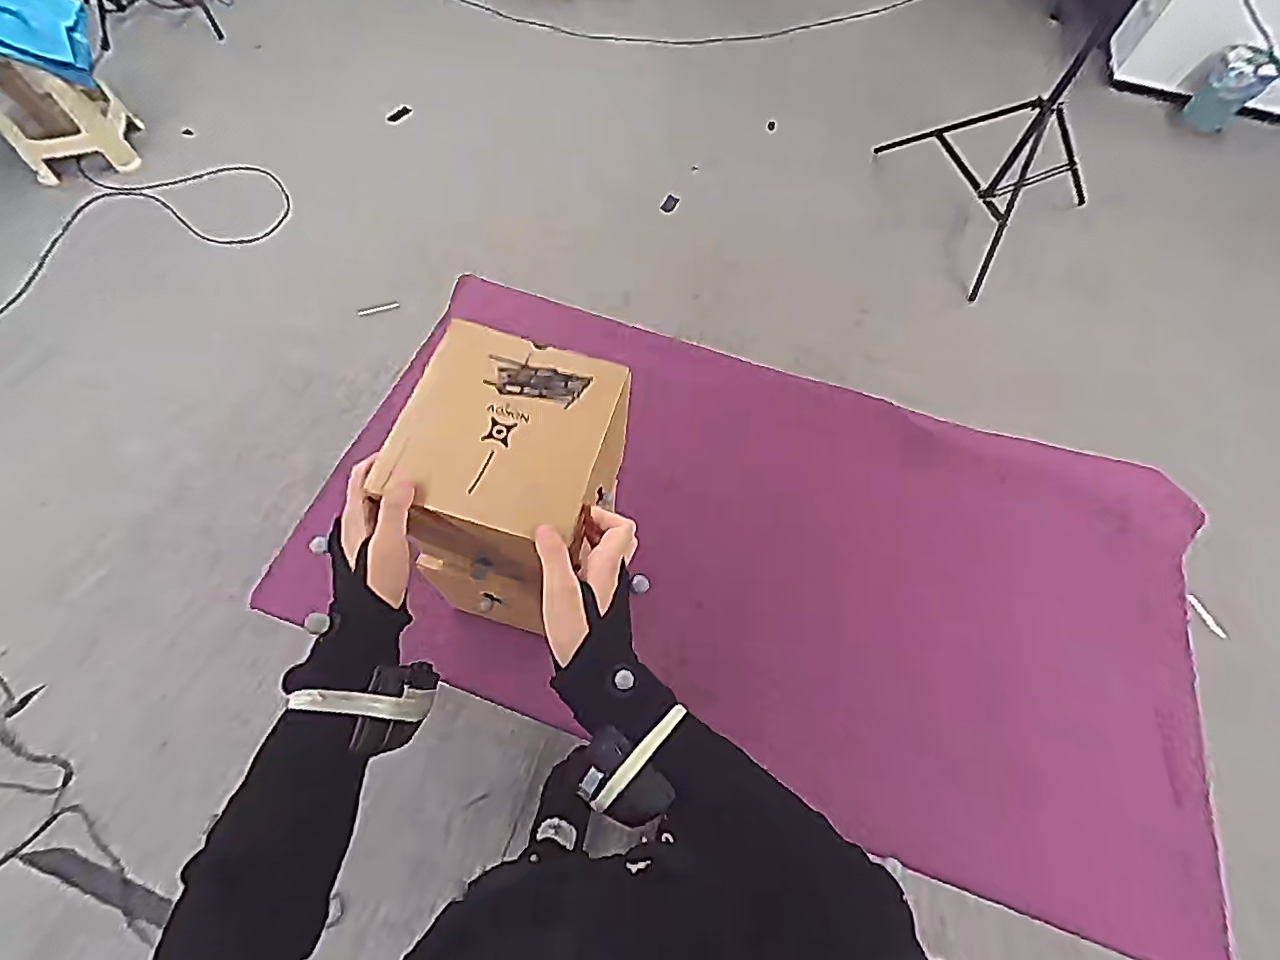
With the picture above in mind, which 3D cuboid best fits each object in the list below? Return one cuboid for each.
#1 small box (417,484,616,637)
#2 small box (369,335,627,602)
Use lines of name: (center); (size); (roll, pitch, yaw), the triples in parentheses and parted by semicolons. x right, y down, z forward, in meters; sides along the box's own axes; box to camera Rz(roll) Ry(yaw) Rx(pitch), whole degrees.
small box: (-0.137, 0.085, 0.675); (0.179, 0.176, 0.168); (16, 62, 5)
small box: (-0.120, -0.002, 0.526); (0.168, 0.176, 0.179); (17, 64, 4)
